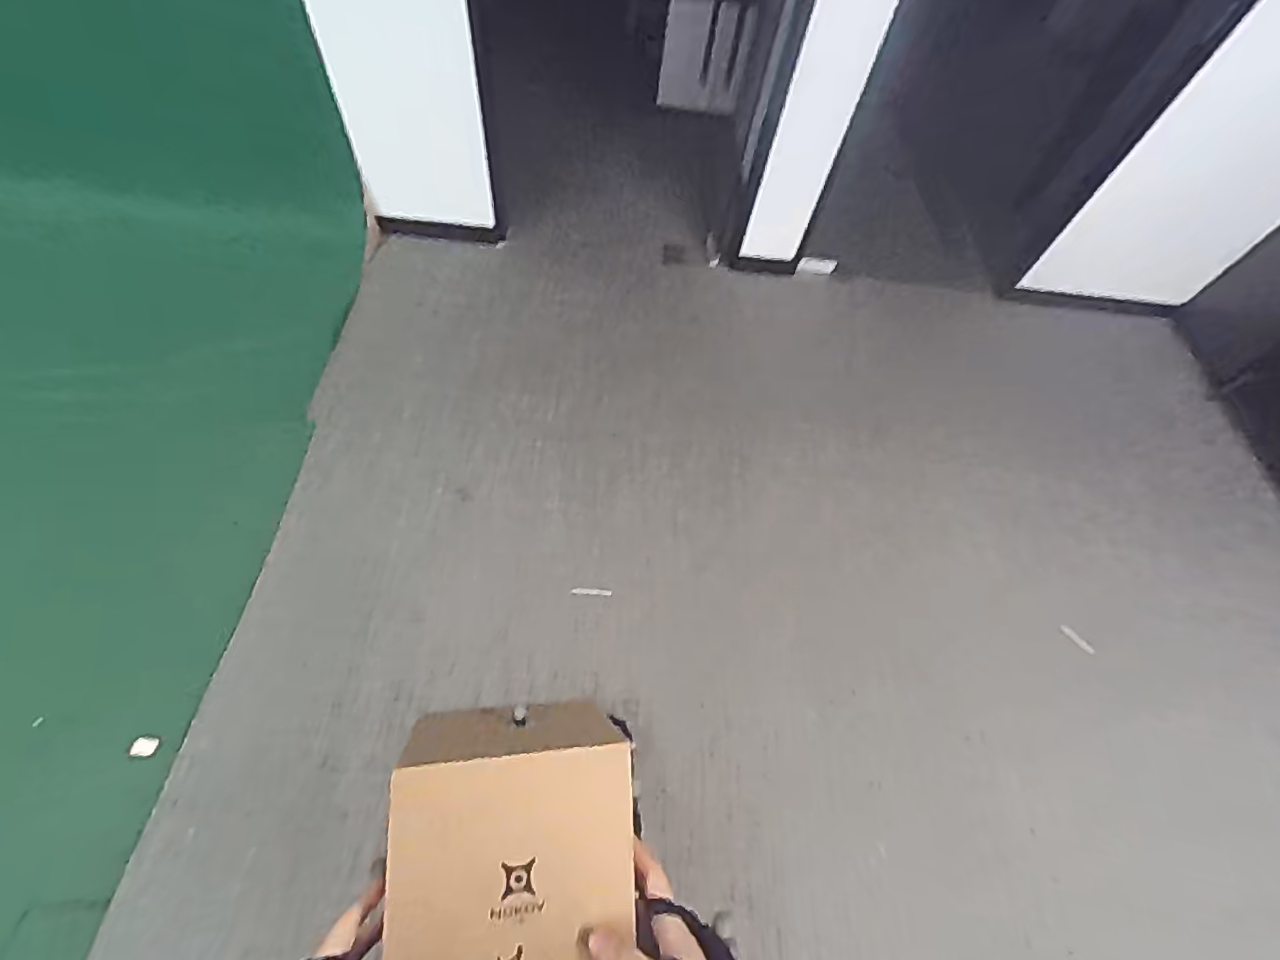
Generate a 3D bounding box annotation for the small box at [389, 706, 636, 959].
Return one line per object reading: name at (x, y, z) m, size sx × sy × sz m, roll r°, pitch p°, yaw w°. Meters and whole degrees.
small box at (-0.105, 0.293, 0.444) m, size 0.168 × 0.176 × 0.179 m, roll 2°, pitch 80°, yaw -16°
